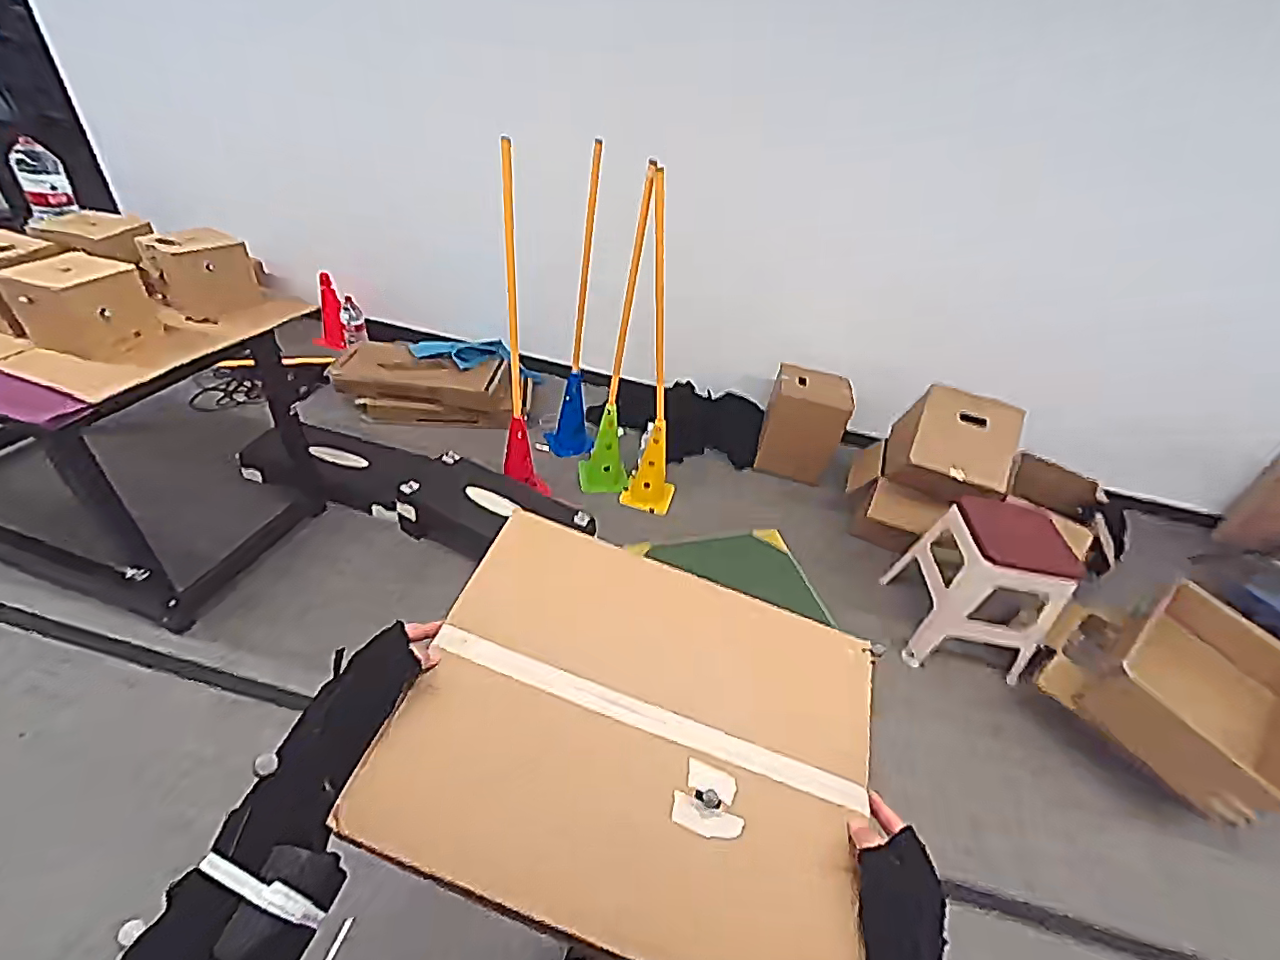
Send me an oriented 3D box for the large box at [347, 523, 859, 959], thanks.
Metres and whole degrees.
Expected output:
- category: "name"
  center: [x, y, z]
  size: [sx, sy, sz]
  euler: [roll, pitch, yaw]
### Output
- category: "large box"
  center: [-0.024, 0.310, 0.603]
  size: [0.408, 0.320, 0.320]
  euler: [21, 50, 3]
